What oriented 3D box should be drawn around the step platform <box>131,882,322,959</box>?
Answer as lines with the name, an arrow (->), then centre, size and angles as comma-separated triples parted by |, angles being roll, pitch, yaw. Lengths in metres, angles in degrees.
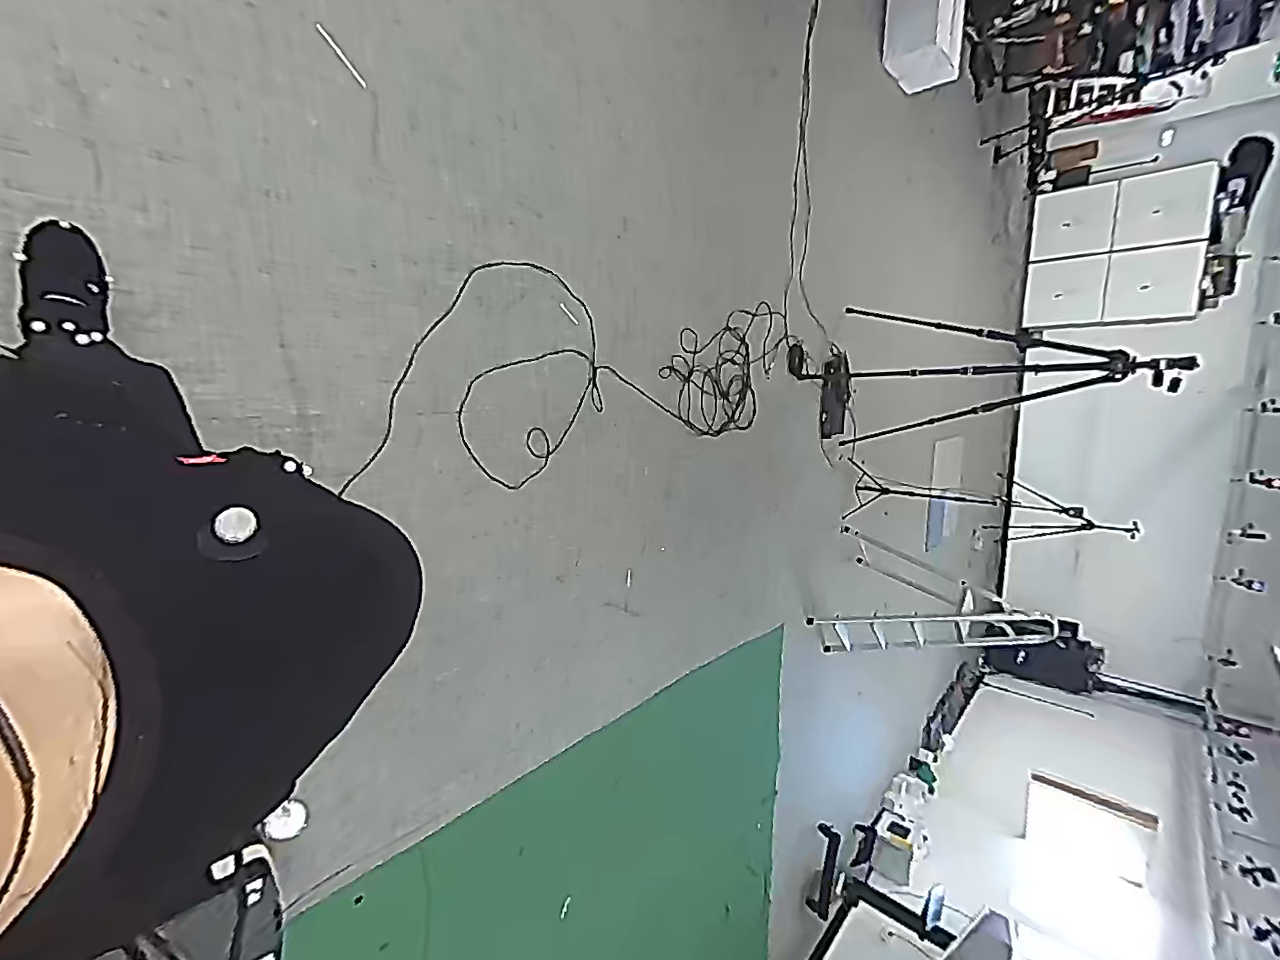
step platform -> -0.961, 1.070, 0.948 | 0.684, 0.204, 0.286 | -10, 103, -48
